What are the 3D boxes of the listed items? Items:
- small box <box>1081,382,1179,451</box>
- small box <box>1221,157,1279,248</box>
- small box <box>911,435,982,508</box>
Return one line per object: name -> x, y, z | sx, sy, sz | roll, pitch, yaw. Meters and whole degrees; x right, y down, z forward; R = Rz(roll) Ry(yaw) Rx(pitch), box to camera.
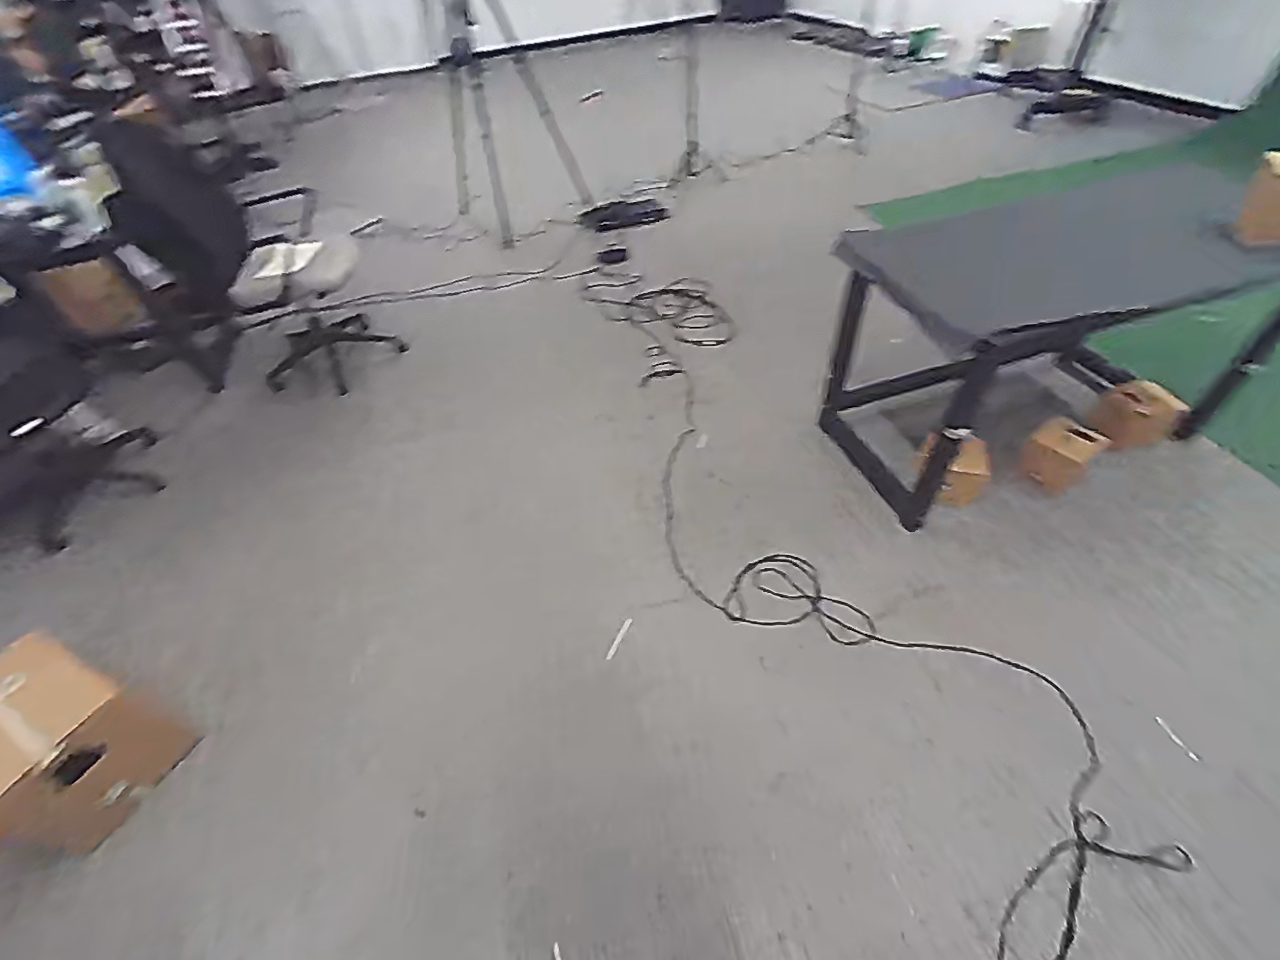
small box -> 1.734, -0.223, 1.934 | 0.179, 0.176, 0.168 | -11, 48, -6
small box -> 1.666, -0.714, 1.396 | 0.168, 0.176, 0.179 | 17, 51, 24
small box -> 1.032, -0.027, 1.832 | 0.168, 0.176, 0.179 | 8, 48, 14
